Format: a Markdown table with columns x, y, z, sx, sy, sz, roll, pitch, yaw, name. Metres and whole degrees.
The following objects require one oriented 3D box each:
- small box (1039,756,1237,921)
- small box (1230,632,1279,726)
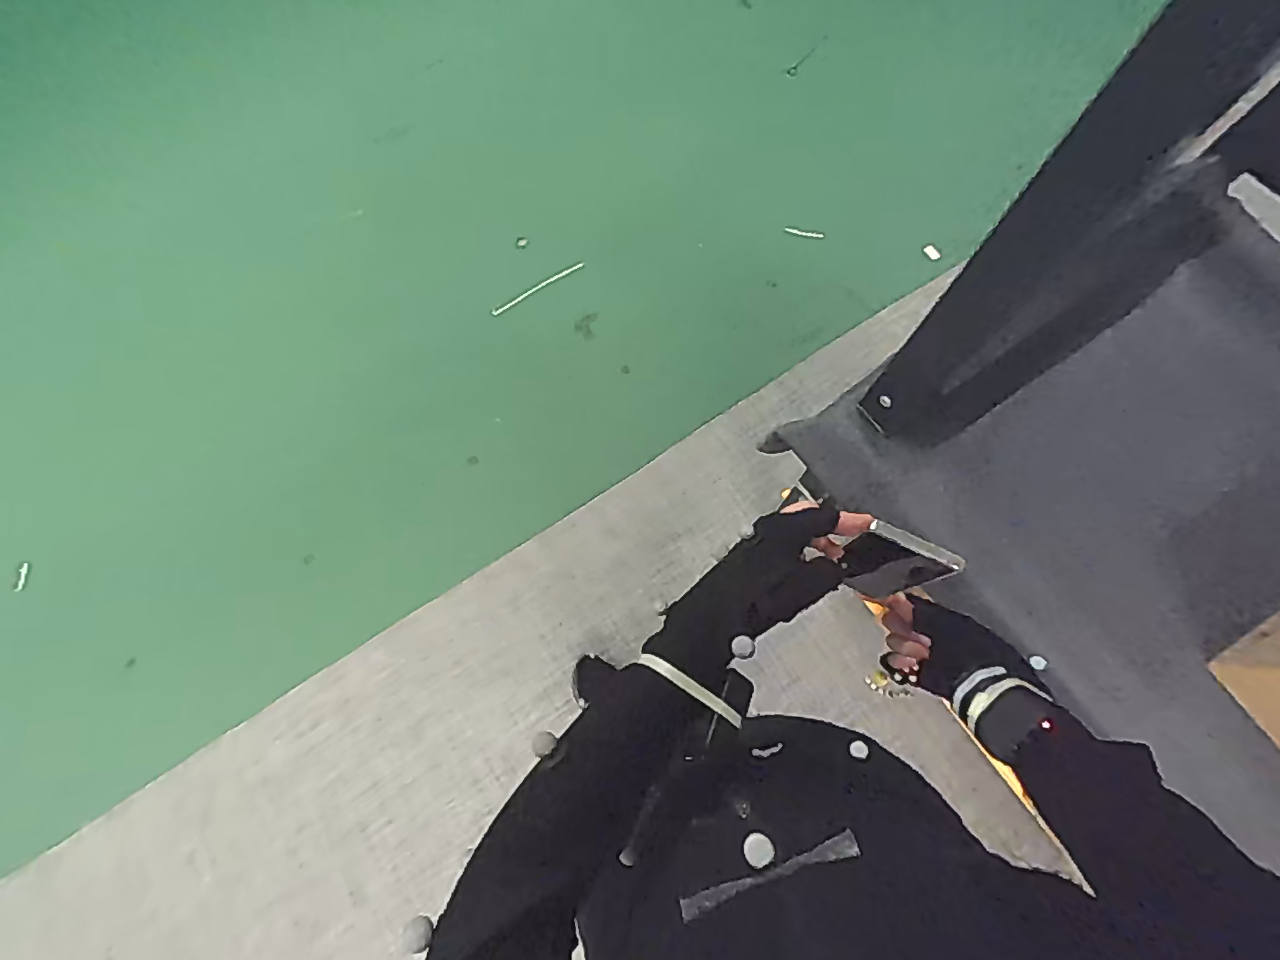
| x | y | z | sx | sy | sz | roll | pitch | yaw | name |
| --- | --- | --- | --- | --- | --- | --- | --- | --- | --- |
| 0.880 | 0.636 | 0.985 | 0.179 | 0.176 | 0.168 | -30 | 73 | -5 | small box |
| 0.717 | 0.201 | 0.478 | 0.168 | 0.176 | 0.179 | -31 | 73 | -5 | small box |
